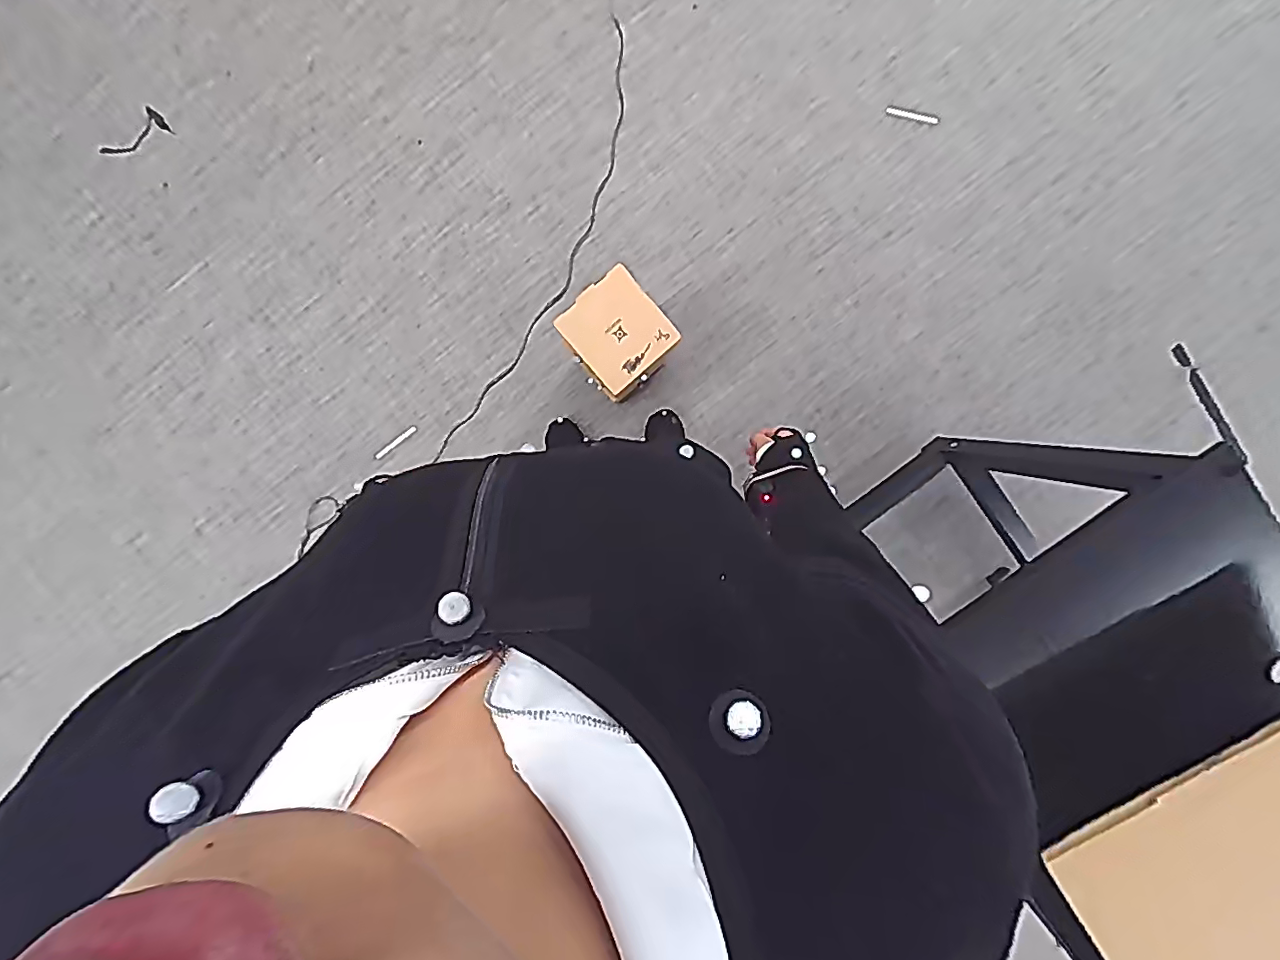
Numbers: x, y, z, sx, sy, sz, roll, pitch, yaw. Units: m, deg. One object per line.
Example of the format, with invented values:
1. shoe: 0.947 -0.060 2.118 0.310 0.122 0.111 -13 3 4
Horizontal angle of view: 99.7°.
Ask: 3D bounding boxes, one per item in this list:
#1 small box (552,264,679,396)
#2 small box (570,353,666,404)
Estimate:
1. small box: -0.046 -0.279 1.054 0.168 0.176 0.179 -41 95 4
2. small box: -0.055 -0.312 1.379 0.179 0.176 0.168 -41 95 5
